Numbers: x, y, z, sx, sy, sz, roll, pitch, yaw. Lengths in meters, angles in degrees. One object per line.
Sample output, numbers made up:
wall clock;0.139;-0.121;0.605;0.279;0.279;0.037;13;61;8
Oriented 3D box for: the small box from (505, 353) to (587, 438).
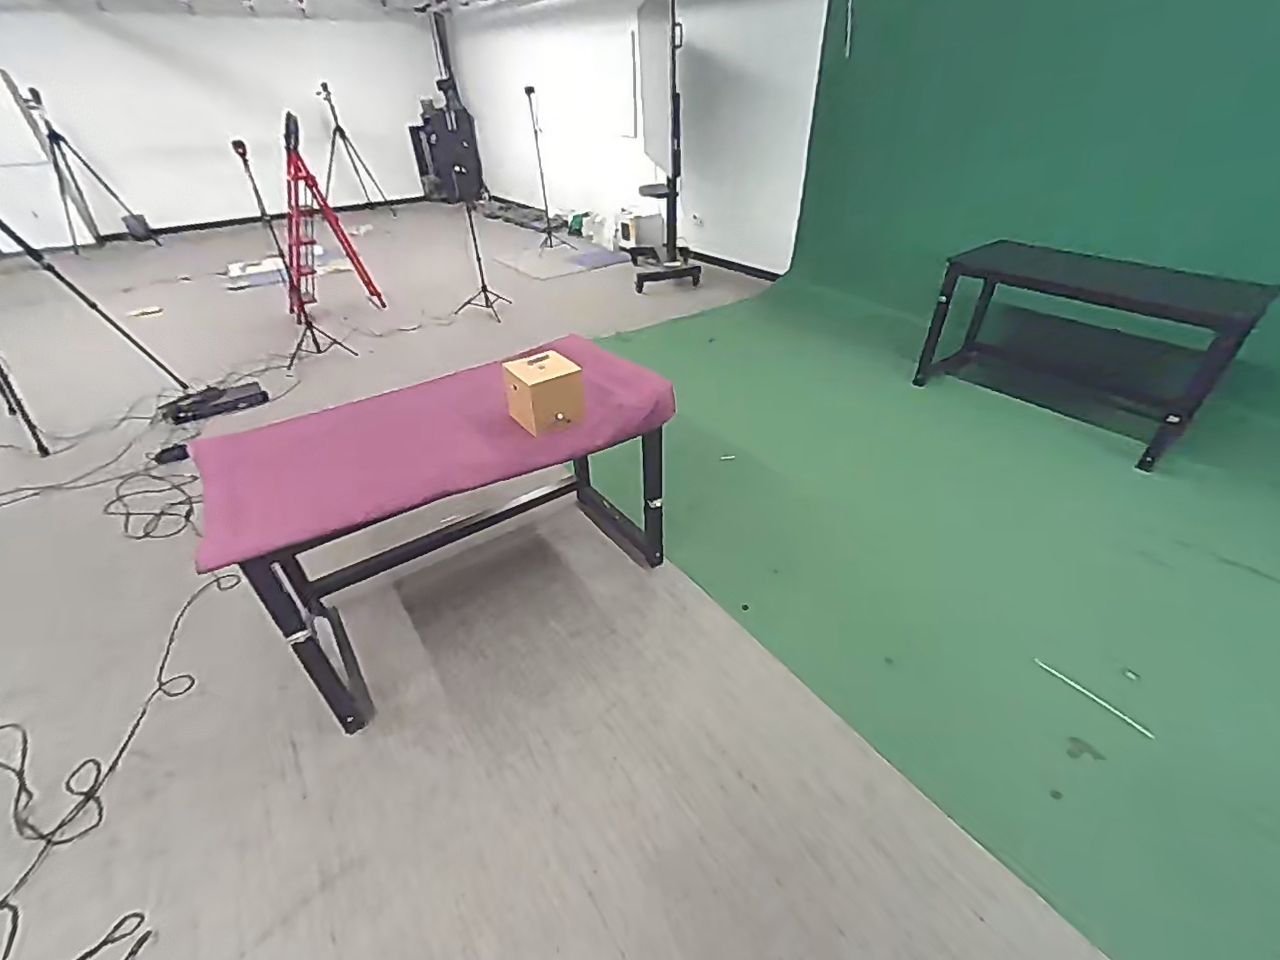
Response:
small box;-0.269;-0.245;1.558;0.168;0.176;0.179;-24;41;-27
